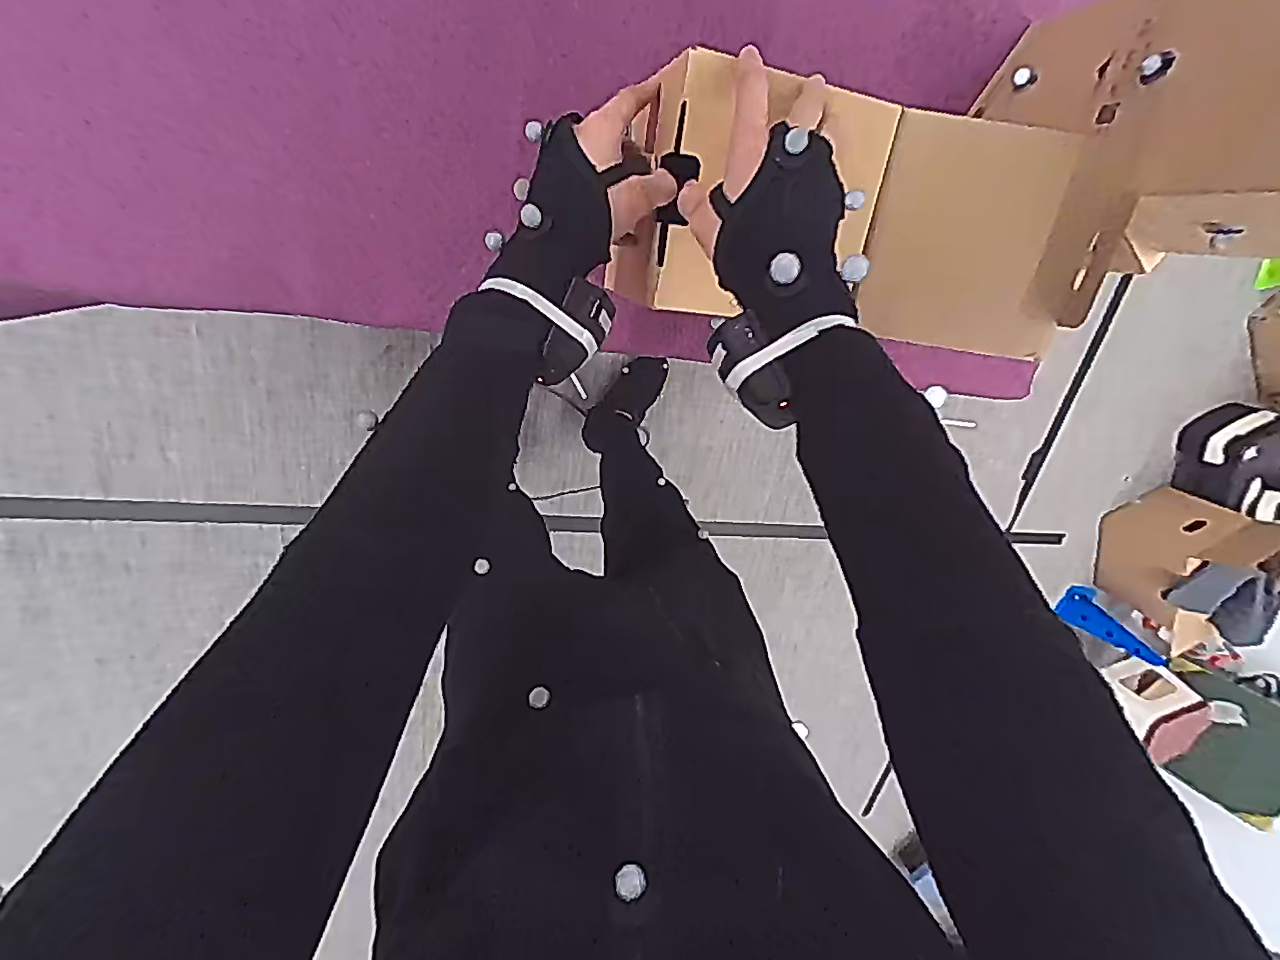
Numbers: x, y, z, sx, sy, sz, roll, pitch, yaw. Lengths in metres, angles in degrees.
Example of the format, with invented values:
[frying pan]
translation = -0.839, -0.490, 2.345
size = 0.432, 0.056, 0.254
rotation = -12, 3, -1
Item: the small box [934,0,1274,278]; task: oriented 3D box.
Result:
[small box]
translation = 0.448, -0.333, 0.543
size = 0.179, 0.176, 0.168
rotation = 29, 103, -27
